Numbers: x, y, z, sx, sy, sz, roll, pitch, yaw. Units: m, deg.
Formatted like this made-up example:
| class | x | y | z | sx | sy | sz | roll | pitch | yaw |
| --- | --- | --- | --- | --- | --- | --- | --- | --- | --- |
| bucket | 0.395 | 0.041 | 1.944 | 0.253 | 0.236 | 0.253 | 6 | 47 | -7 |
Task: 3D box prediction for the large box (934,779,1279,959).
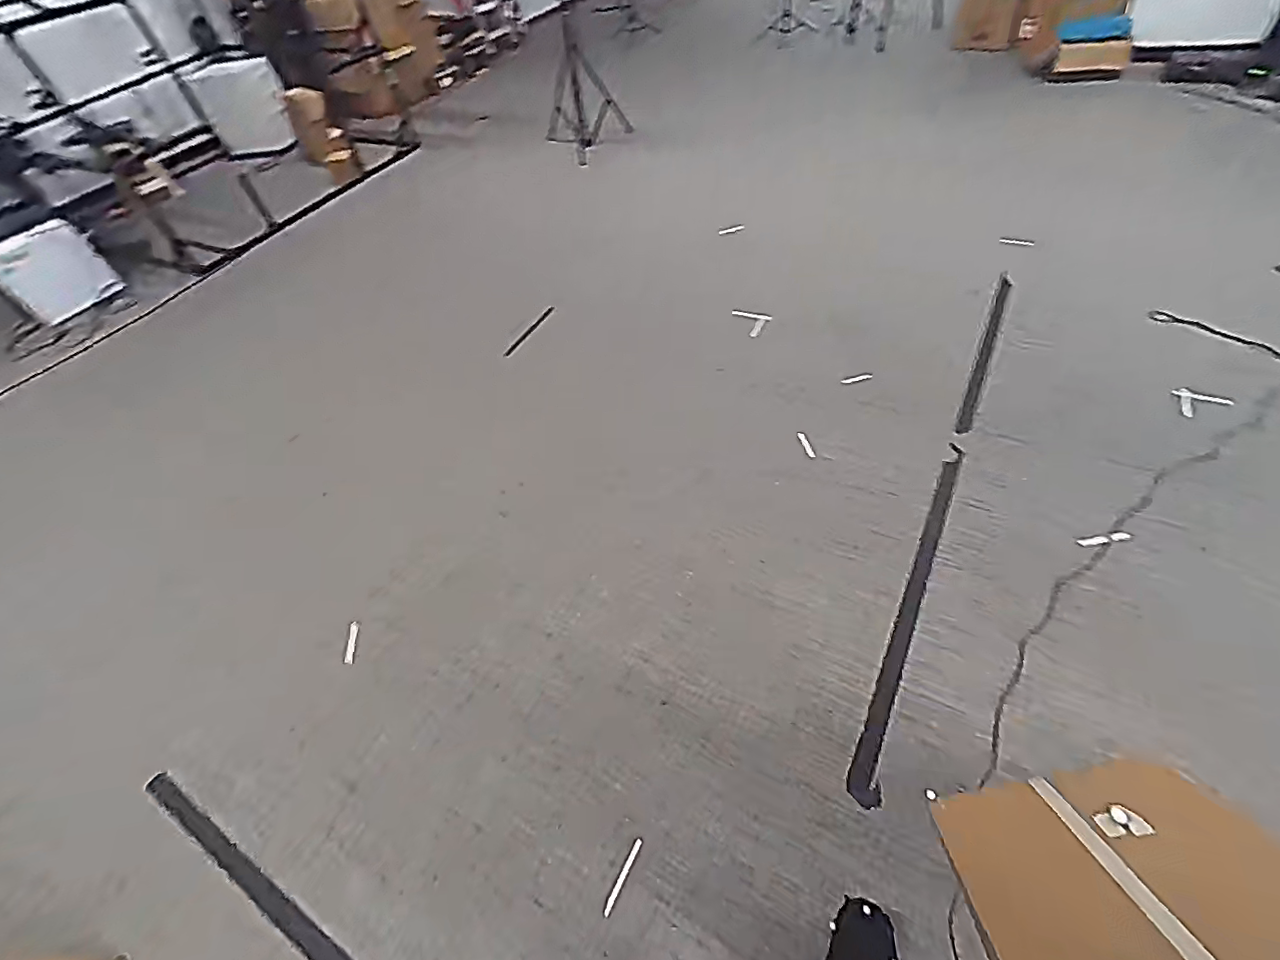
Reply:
| class | x | y | z | sx | sy | sz | roll | pitch | yaw |
| --- | --- | --- | --- | --- | --- | --- | --- | --- | --- |
| large box | 0.588 | 0.601 | 0.588 | 0.320 | 0.408 | 0.320 | -19 | 82 | 14 |
